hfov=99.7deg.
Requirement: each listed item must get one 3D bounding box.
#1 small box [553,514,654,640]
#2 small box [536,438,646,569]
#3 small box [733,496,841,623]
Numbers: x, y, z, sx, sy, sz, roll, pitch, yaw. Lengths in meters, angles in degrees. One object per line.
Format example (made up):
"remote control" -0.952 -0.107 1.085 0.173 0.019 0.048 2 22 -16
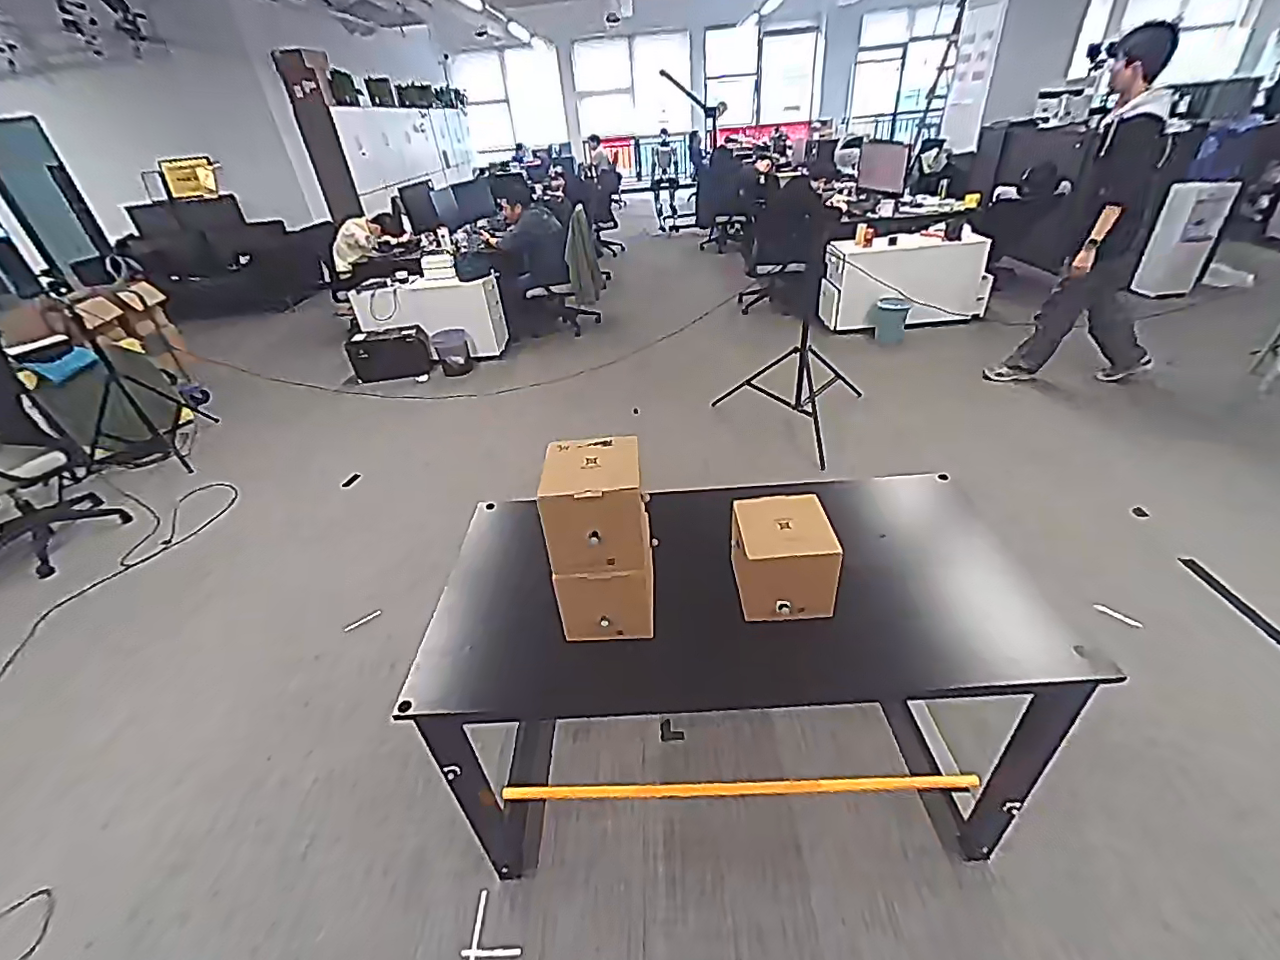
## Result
"small box" -0.063 0.186 1.042 0.168 0.176 0.179 -3 34 4
"small box" -0.078 0.045 0.959 0.168 0.176 0.179 -4 34 1
"small box" 0.273 0.153 1.048 0.168 0.176 0.179 -6 35 2
